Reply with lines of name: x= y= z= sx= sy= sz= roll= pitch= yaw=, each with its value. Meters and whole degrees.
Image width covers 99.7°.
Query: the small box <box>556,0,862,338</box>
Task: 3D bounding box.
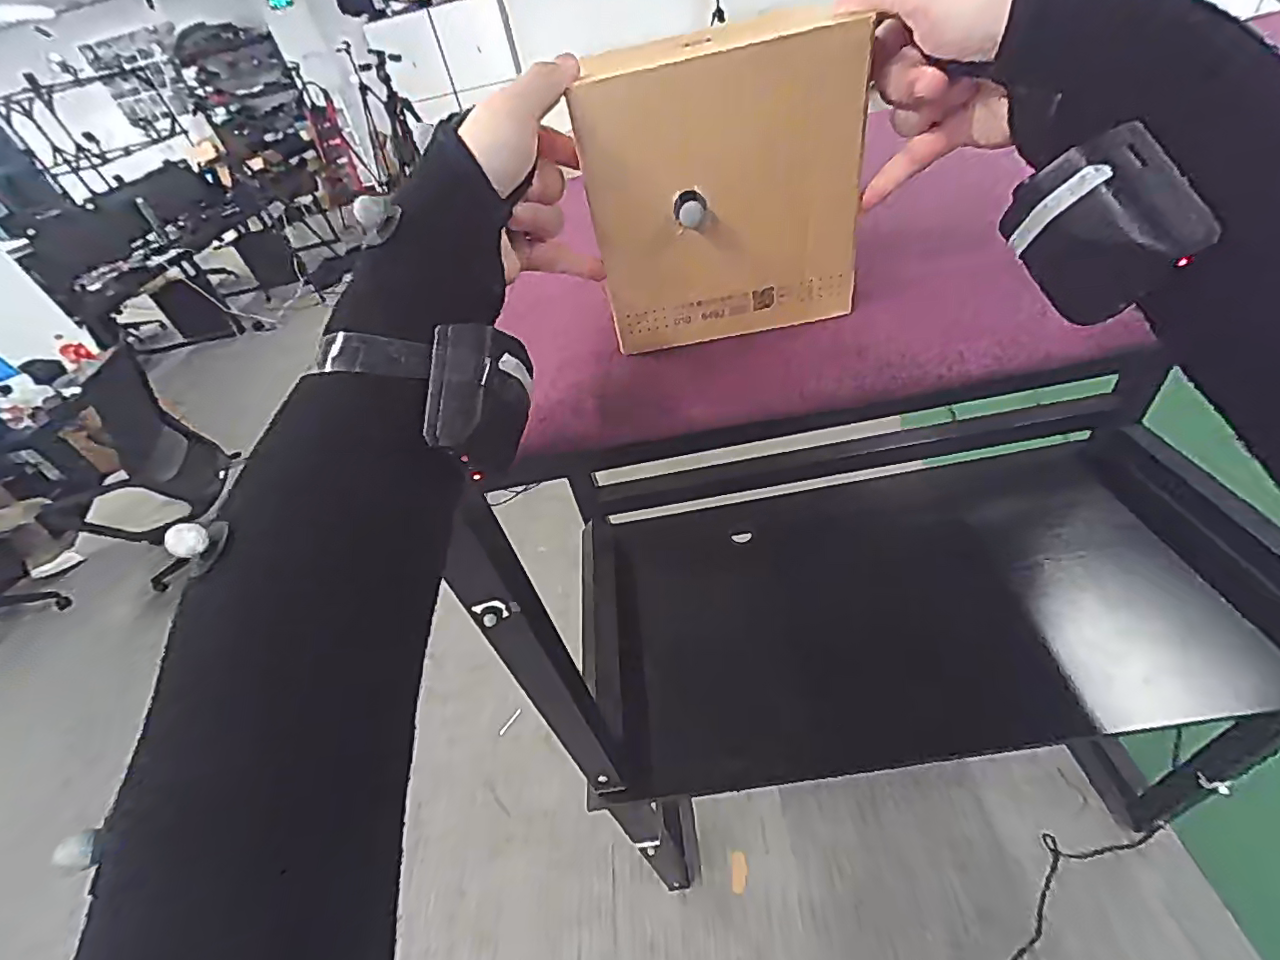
small box: x=0.048 y=-0.217 z=0.393 sx=0.168 sy=0.176 sz=0.179 roll=-10 pitch=41 yaw=6
